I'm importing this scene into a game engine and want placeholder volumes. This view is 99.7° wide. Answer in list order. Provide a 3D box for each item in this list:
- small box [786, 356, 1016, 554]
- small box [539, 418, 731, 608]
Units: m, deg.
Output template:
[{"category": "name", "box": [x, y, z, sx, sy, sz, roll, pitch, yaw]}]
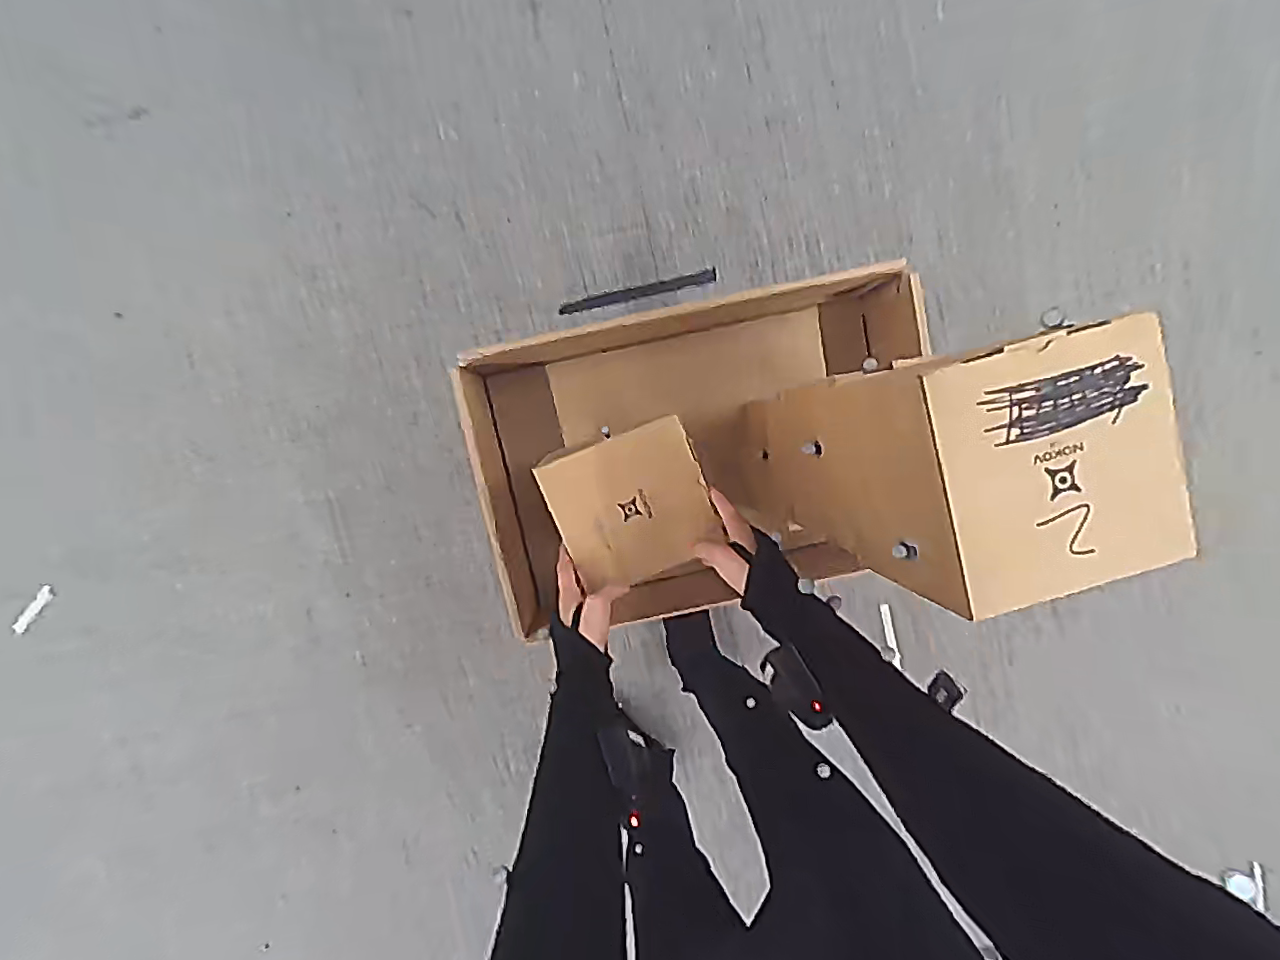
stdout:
[{"category": "small box", "box": [0.274, -0.029, 0.604, 0.168, 0.176, 0.179, -9, 94, -3]}, {"category": "small box", "box": [-0.013, 0.027, 0.677, 0.179, 0.176, 0.168, -23, 100, -3]}]
